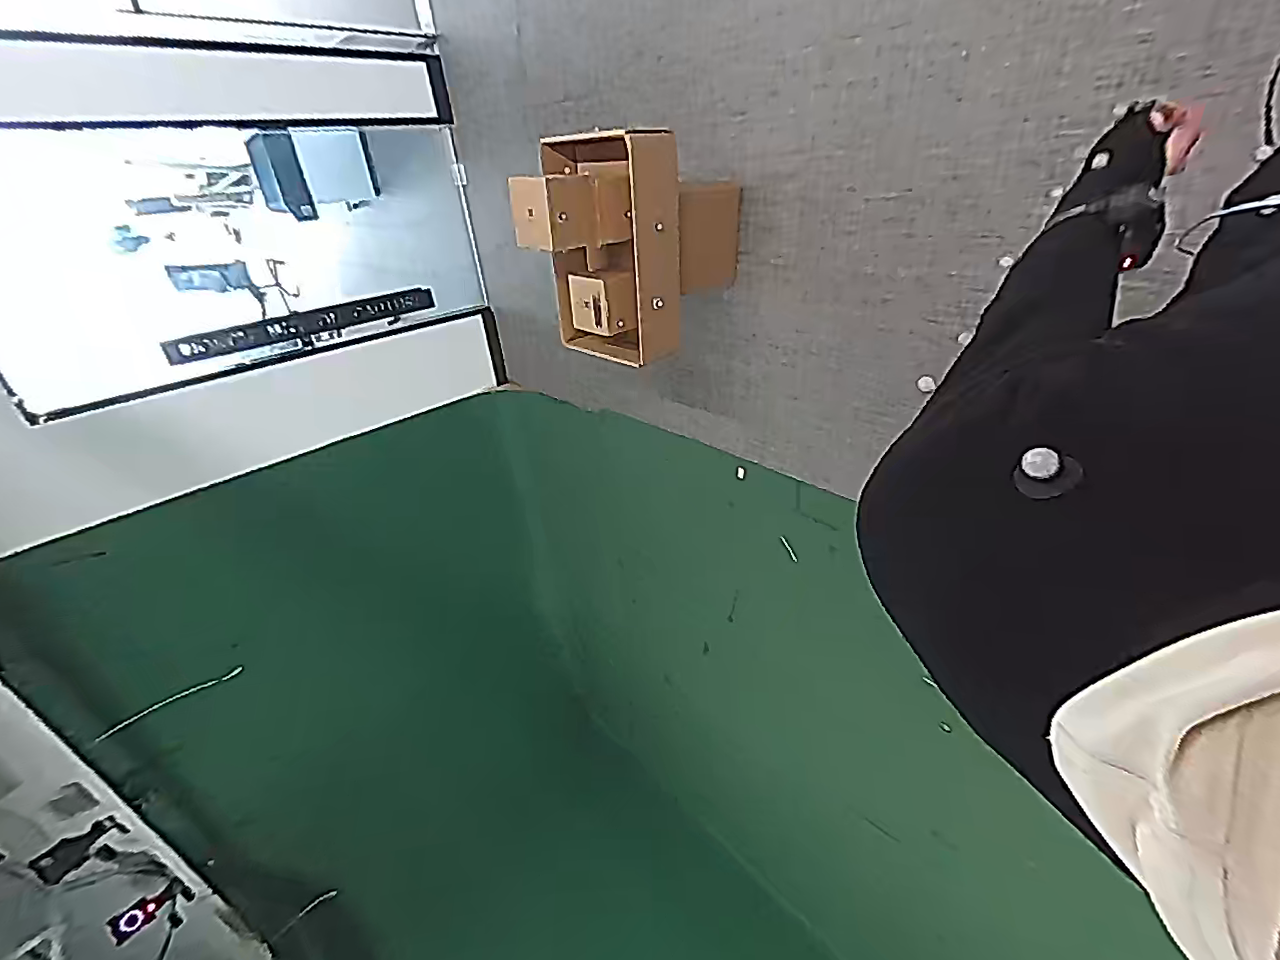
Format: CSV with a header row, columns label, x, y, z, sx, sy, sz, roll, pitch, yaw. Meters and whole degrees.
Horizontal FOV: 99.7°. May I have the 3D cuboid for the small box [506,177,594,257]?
label,x,y,z,sx,sy,sz,roll,pitch,yaw
small box,-0.239,-0.719,1.472,0.168,0.176,0.179,26,130,37
